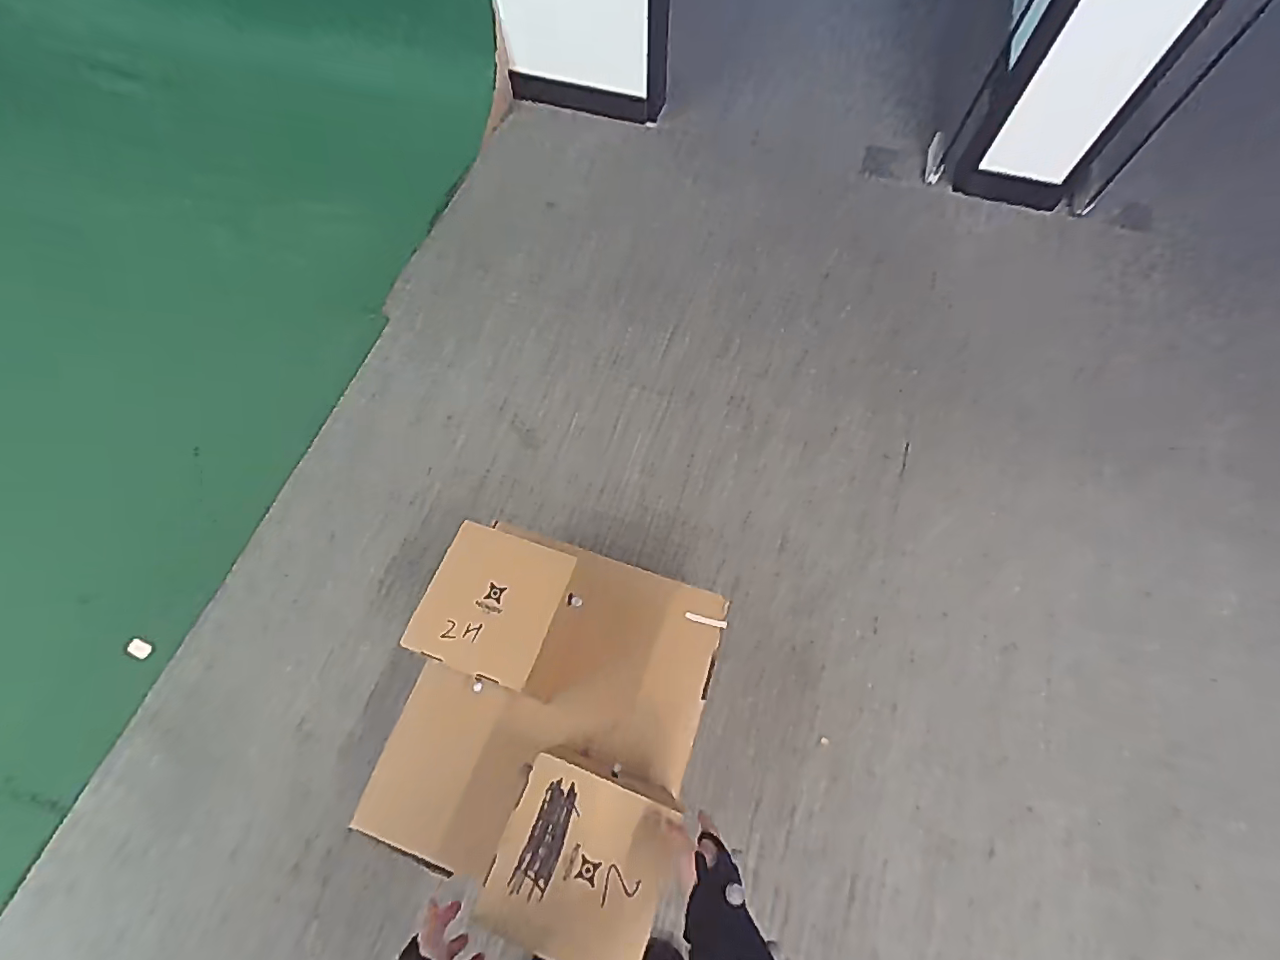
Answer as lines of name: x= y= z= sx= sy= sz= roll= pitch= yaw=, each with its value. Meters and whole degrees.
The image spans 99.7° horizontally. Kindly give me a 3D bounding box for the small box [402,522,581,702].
small box: x=-0.187 y=0.188 z=0.747 sx=0.168 sy=0.176 sz=0.179 roll=17 pitch=64 yaw=8
